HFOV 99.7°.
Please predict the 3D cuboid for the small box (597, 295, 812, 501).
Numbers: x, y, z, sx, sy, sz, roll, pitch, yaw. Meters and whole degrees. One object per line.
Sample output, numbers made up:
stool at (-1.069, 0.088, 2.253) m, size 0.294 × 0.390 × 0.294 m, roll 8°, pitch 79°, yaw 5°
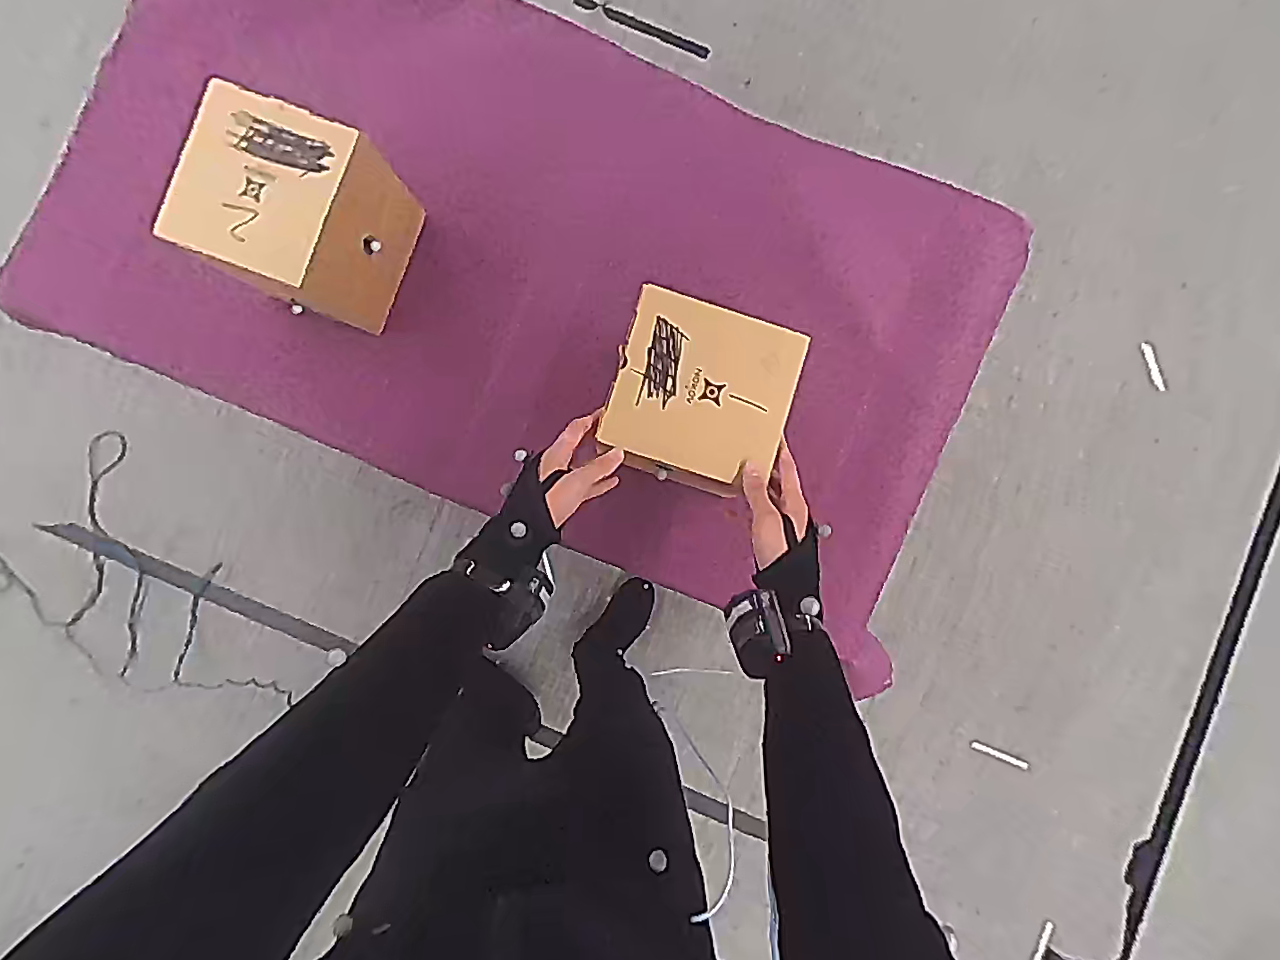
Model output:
small box at (0.060, -0.076, 0.605) m, size 0.179 × 0.176 × 0.168 m, roll 18°, pitch 87°, yaw -2°
